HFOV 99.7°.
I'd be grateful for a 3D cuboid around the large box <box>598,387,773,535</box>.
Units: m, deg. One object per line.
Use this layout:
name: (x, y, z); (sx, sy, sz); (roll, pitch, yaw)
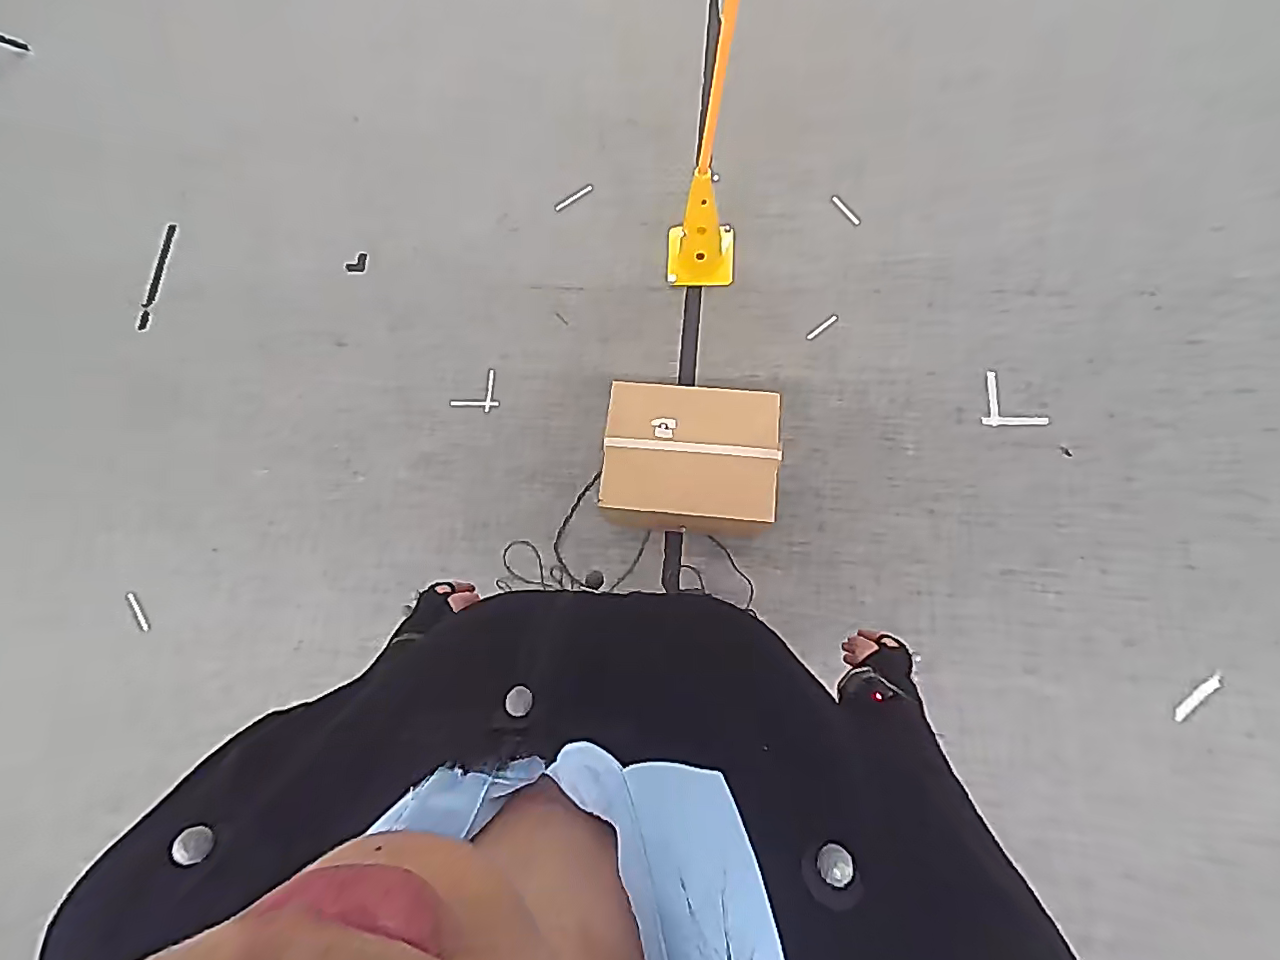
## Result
large box: (0.123, -0.035, 1.415); (0.408, 0.320, 0.320); (4, 76, 6)
